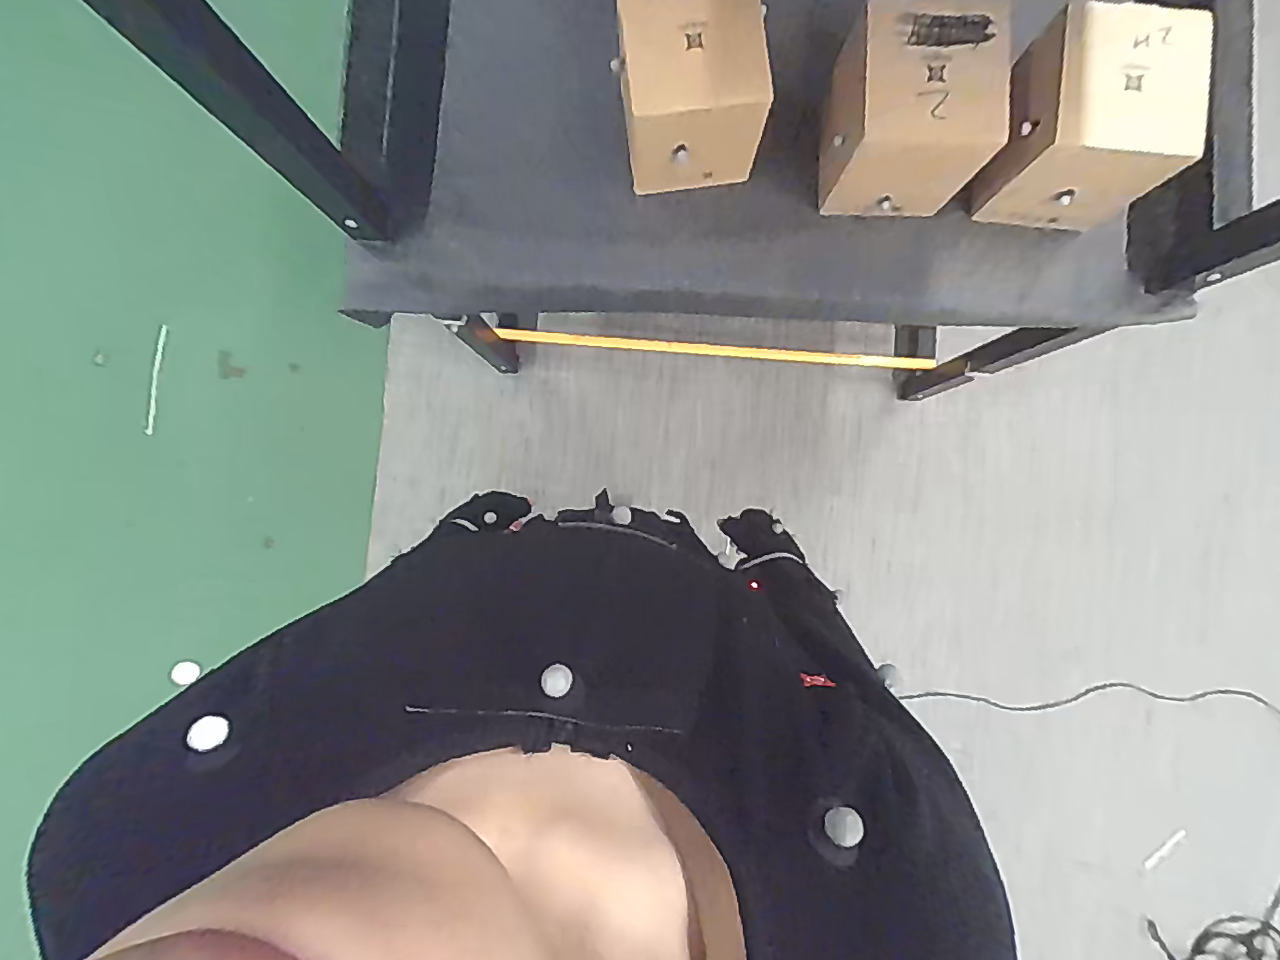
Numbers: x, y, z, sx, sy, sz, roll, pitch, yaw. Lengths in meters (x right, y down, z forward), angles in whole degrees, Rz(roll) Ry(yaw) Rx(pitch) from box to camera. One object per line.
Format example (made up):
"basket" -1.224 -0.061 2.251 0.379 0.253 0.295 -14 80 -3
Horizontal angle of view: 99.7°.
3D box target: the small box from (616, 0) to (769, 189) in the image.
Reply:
"small box" 0.063 -0.509 0.710 0.168 0.176 0.179 -7 87 0
